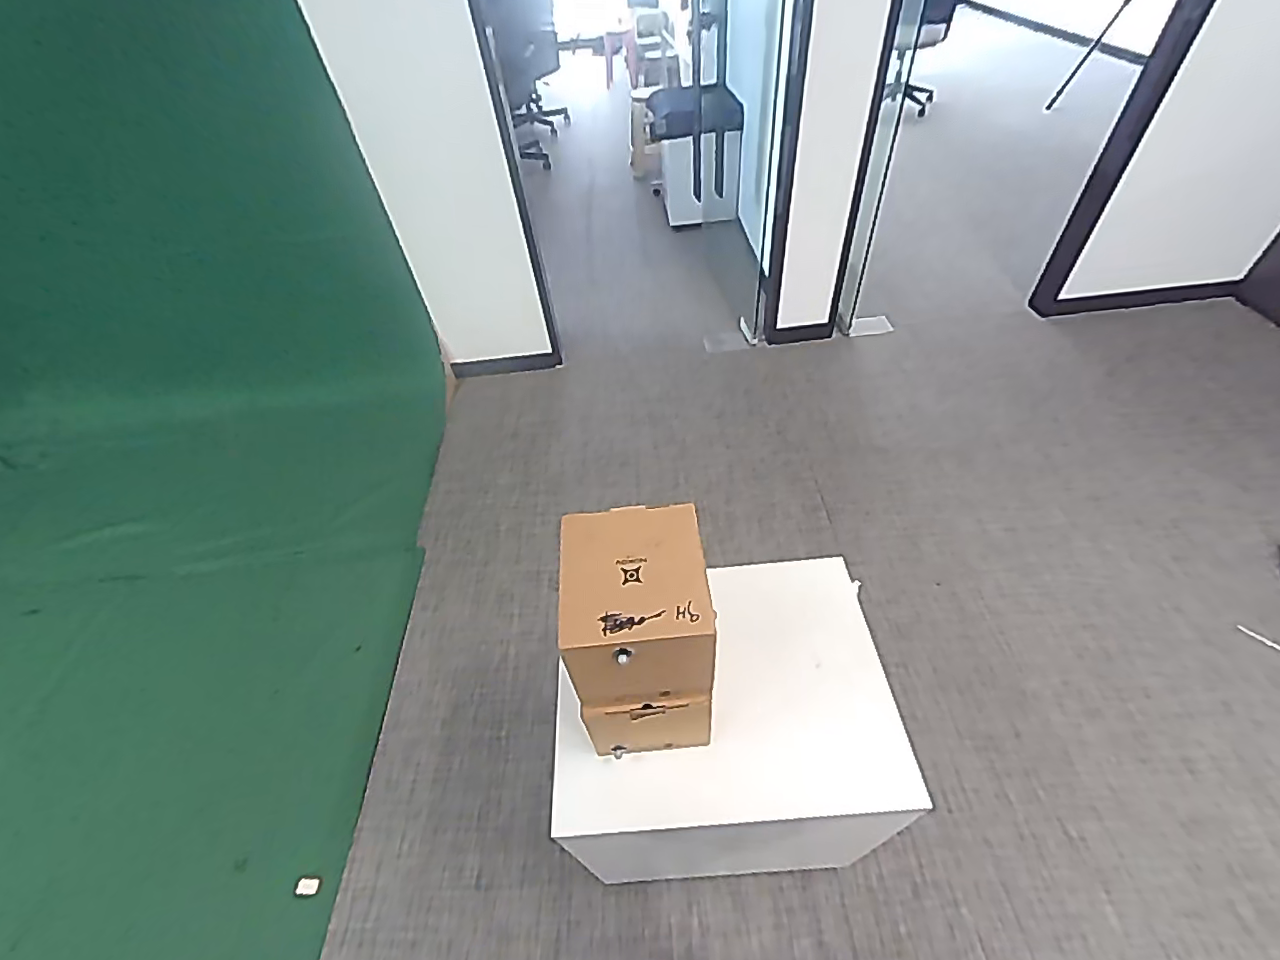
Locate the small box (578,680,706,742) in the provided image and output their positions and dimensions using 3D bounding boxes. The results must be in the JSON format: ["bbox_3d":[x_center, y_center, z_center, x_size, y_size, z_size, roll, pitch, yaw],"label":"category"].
[{"bbox_3d":[0.005,0.268,0.788,0.168,0.176,0.179,-5,47,1],"label":"small box"}]

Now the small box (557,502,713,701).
[{"bbox_3d":[-0.005,0.152,0.674,0.168,0.176,0.179,-6,47,1],"label":"small box"}]
